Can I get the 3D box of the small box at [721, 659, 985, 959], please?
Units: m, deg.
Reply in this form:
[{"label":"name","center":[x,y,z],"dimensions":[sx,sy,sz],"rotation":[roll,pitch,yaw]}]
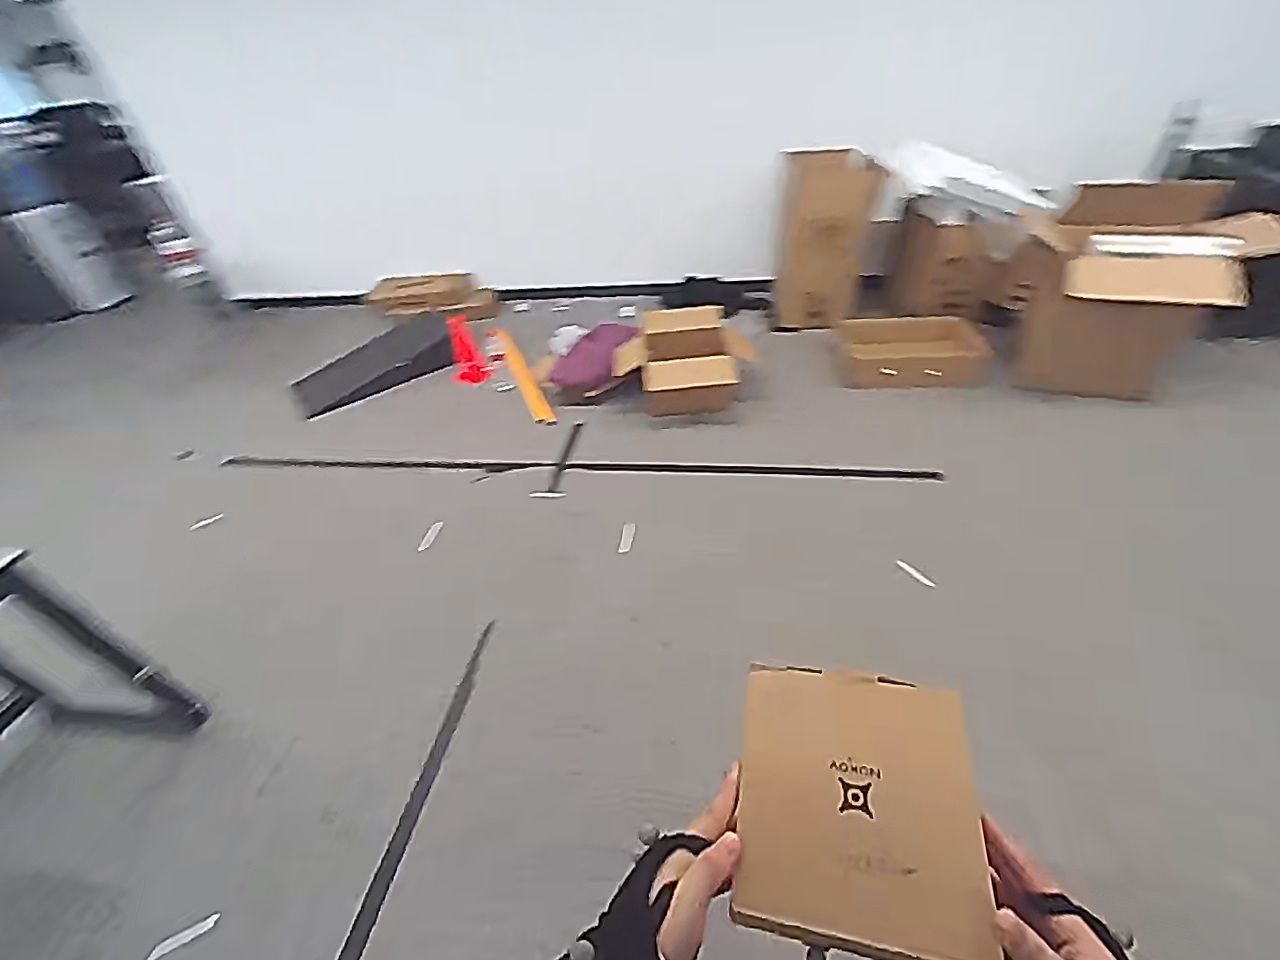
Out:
[{"label":"small box","center":[0.158,0.279,0.461],"dimensions":[0.168,0.176,0.179],"rotation":[3,49,12]}]
